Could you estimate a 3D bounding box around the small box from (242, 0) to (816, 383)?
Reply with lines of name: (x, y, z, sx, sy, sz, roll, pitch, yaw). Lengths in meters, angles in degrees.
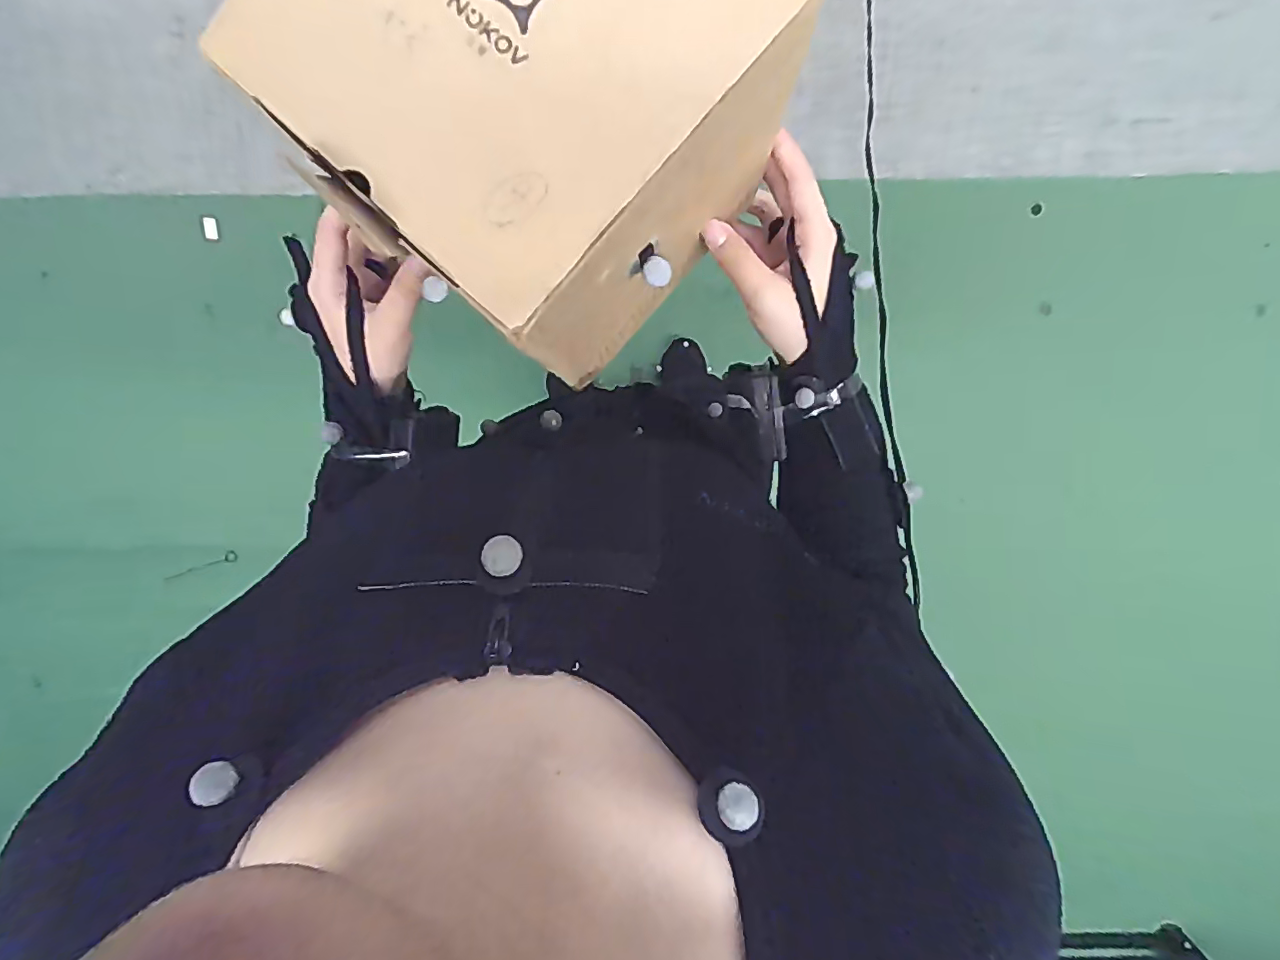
small box: (-0.042, -0.173, 0.292, 0.168, 0.176, 0.179, 42, 93, 0)
